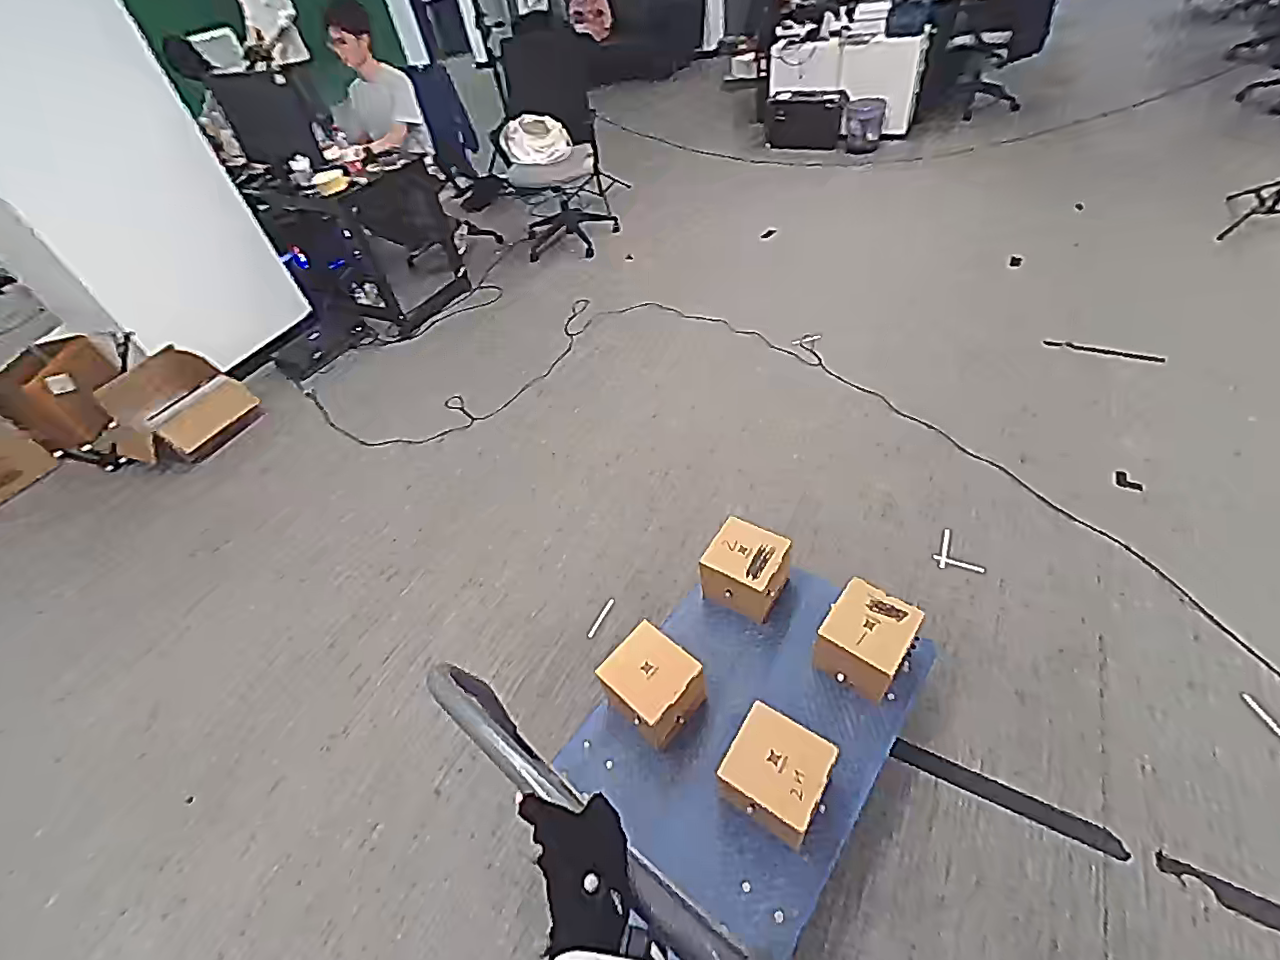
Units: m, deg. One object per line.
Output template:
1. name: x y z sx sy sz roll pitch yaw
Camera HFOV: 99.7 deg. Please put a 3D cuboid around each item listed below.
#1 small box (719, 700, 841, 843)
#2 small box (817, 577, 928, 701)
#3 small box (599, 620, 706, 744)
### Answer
1. small box: 0.273 0.579 1.070 0.179 0.176 0.168 24 56 28
2. small box: 0.517 0.360 1.225 0.168 0.176 0.179 28 59 31
3. small box: 0.033 0.460 1.225 0.179 0.176 0.168 32 60 31
